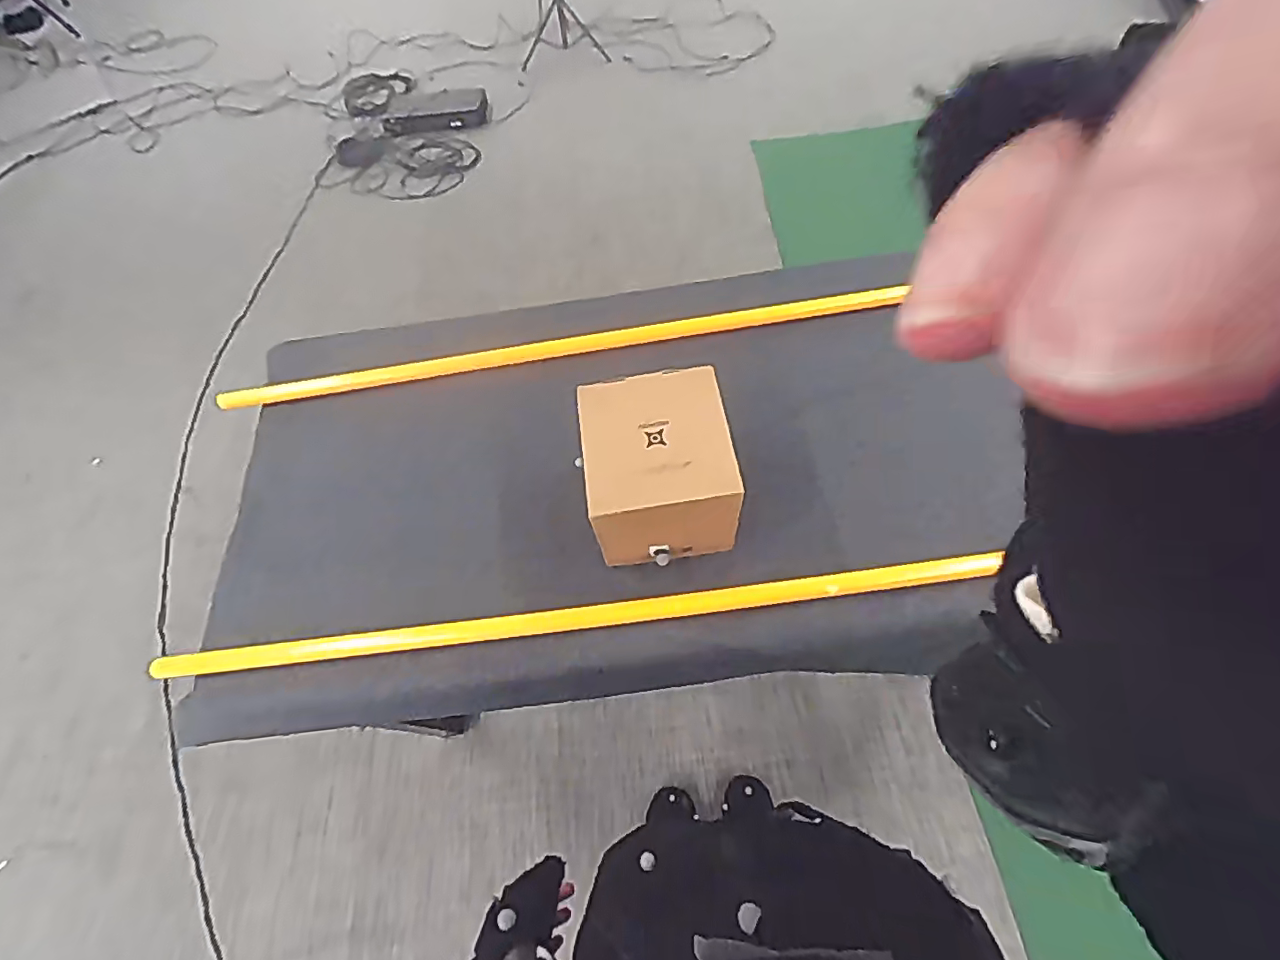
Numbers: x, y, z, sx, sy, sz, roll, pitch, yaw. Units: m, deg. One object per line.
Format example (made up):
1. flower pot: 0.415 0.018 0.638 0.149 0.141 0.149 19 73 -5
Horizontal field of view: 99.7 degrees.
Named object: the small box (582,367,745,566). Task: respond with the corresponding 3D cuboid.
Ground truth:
1. small box: 0.027 -0.010 0.676 0.168 0.176 0.179 -10 62 1
